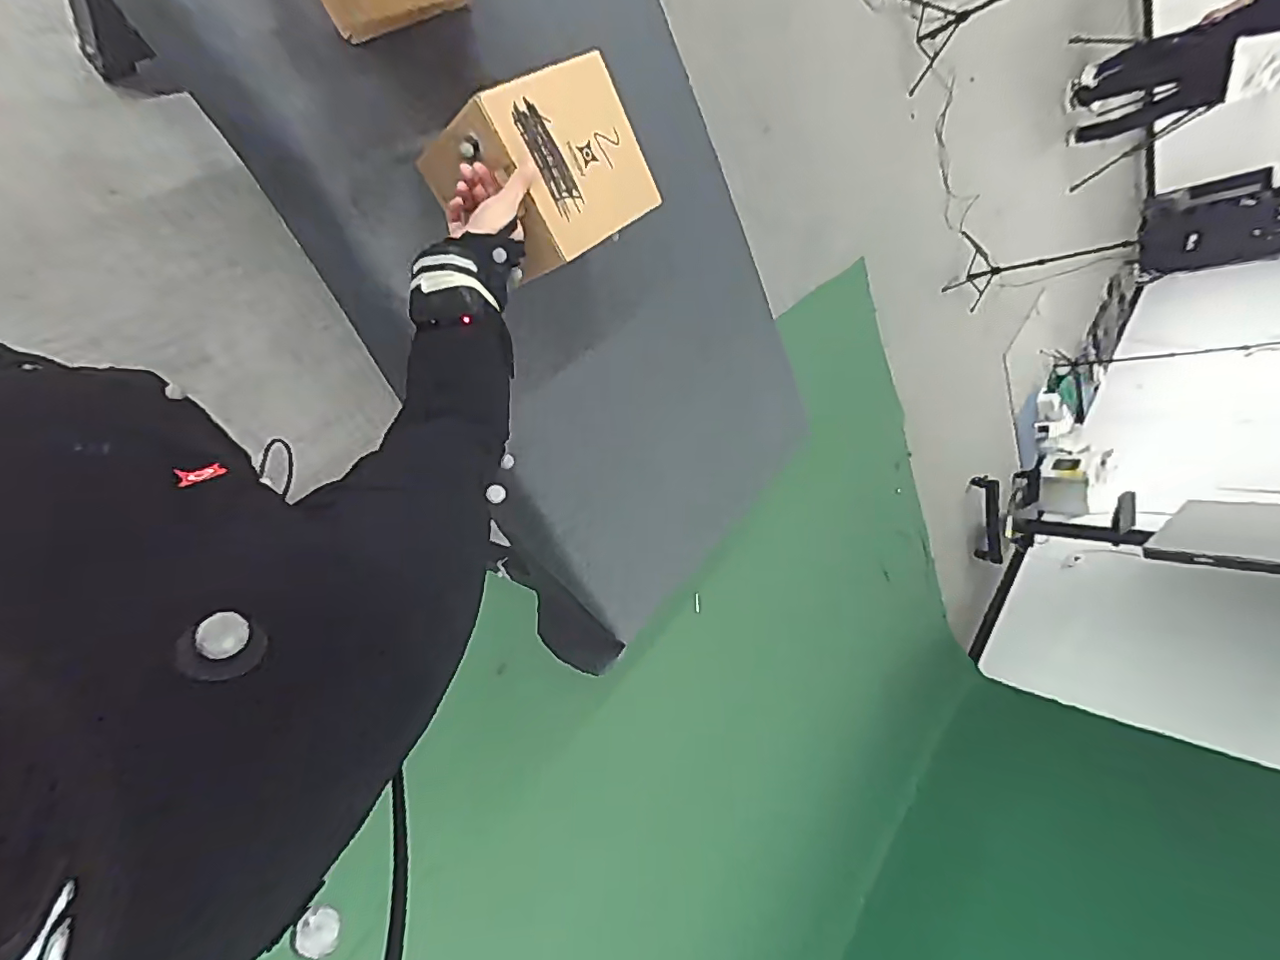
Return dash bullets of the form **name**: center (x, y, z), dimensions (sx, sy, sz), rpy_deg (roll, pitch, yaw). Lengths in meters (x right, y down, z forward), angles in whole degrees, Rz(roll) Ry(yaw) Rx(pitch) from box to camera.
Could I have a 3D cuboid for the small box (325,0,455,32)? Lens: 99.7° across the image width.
- **small box**: center (-0.237, -0.576, 0.509), dimensions (0.179, 0.176, 0.168), rpy_deg (-47, 123, -27)
